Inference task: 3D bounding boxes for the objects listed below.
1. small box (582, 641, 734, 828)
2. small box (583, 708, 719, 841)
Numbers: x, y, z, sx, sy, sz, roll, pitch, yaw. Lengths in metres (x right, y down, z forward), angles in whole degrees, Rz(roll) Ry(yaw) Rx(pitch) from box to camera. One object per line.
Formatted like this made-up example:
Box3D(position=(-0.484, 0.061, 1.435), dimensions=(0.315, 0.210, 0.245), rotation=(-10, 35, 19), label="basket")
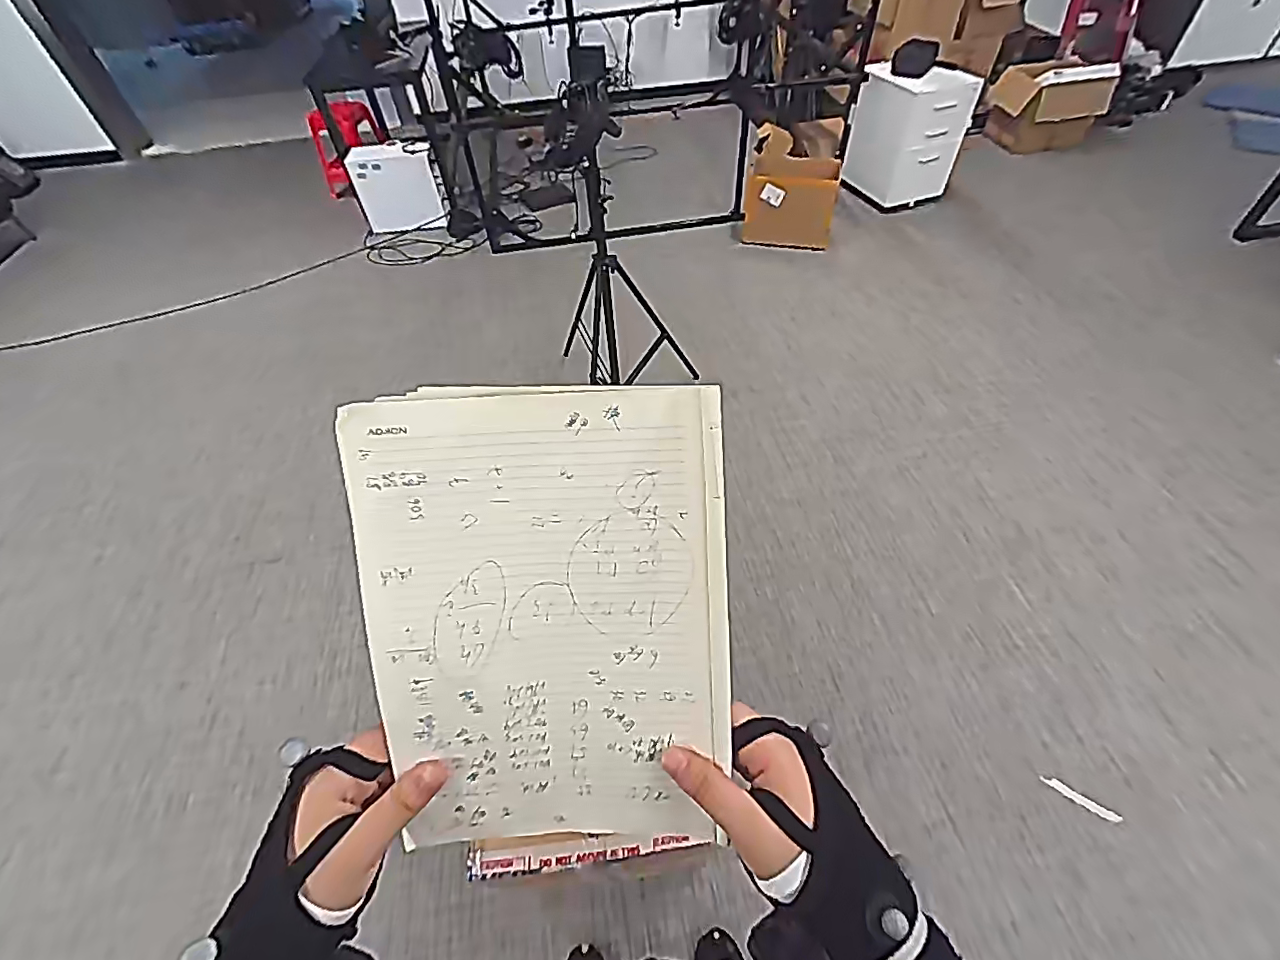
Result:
Box3D(position=(0.014, 0.336, 0.711), dimensions=(0.168, 0.176, 0.179), rotation=(-7, 52, -5), label="small box")
Box3D(position=(0.012, 0.440, 0.839), dimensions=(0.179, 0.176, 0.168), rotation=(-10, 51, -6), label="small box")
